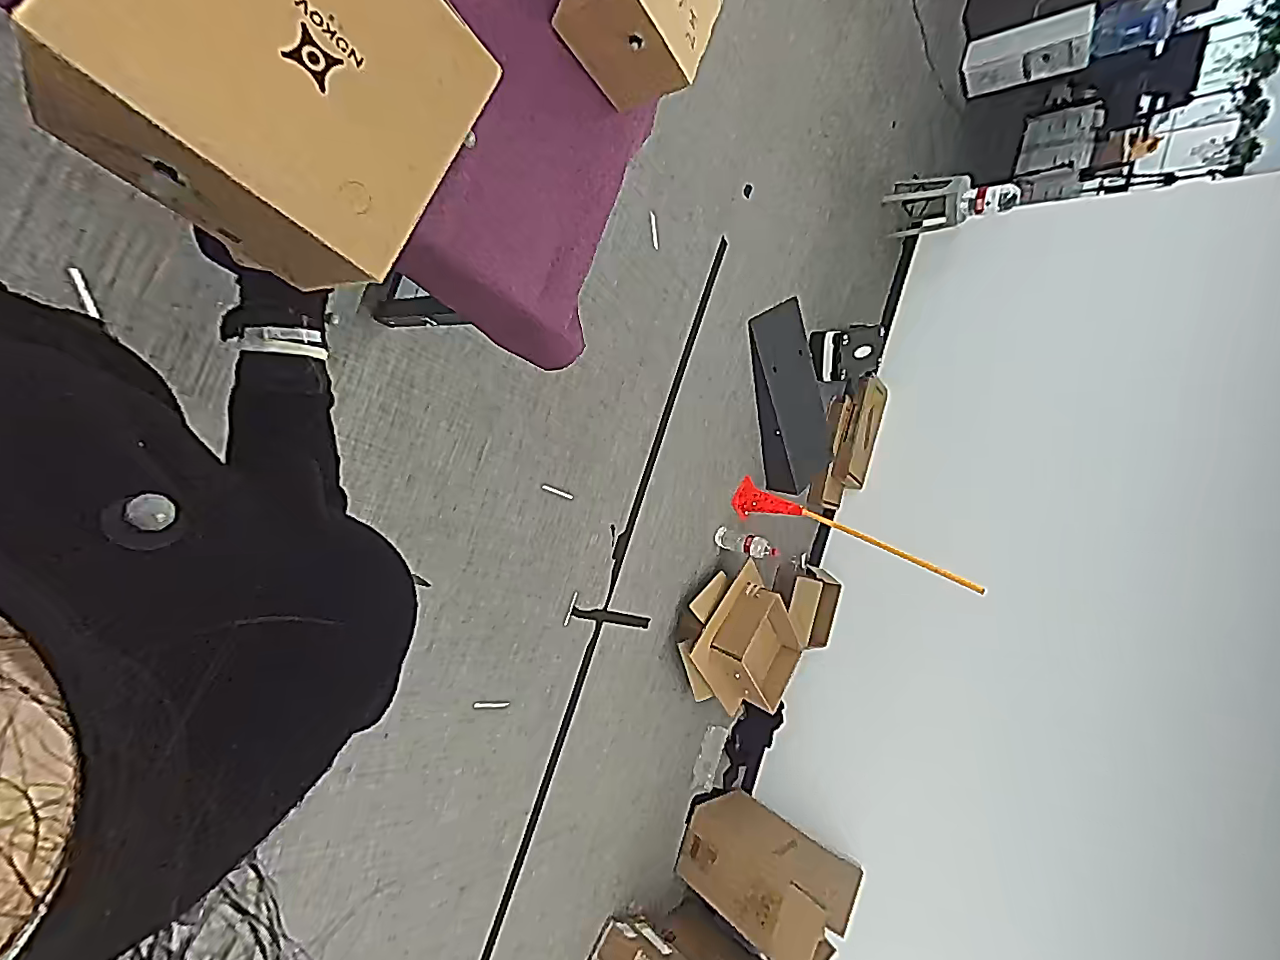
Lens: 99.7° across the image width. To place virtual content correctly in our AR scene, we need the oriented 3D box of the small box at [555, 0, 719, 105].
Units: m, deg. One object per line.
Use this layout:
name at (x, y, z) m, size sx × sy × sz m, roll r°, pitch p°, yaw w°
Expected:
small box at (-0.007, -0.752, 0.868) m, size 0.179 × 0.176 × 0.168 m, roll 27°, pitch 81°, yaw -49°

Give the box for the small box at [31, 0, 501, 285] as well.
small box at (-0.231, -0.248, 0.352) m, size 0.168 × 0.176 × 0.179 m, roll 33°, pitch 75°, yaw -46°
